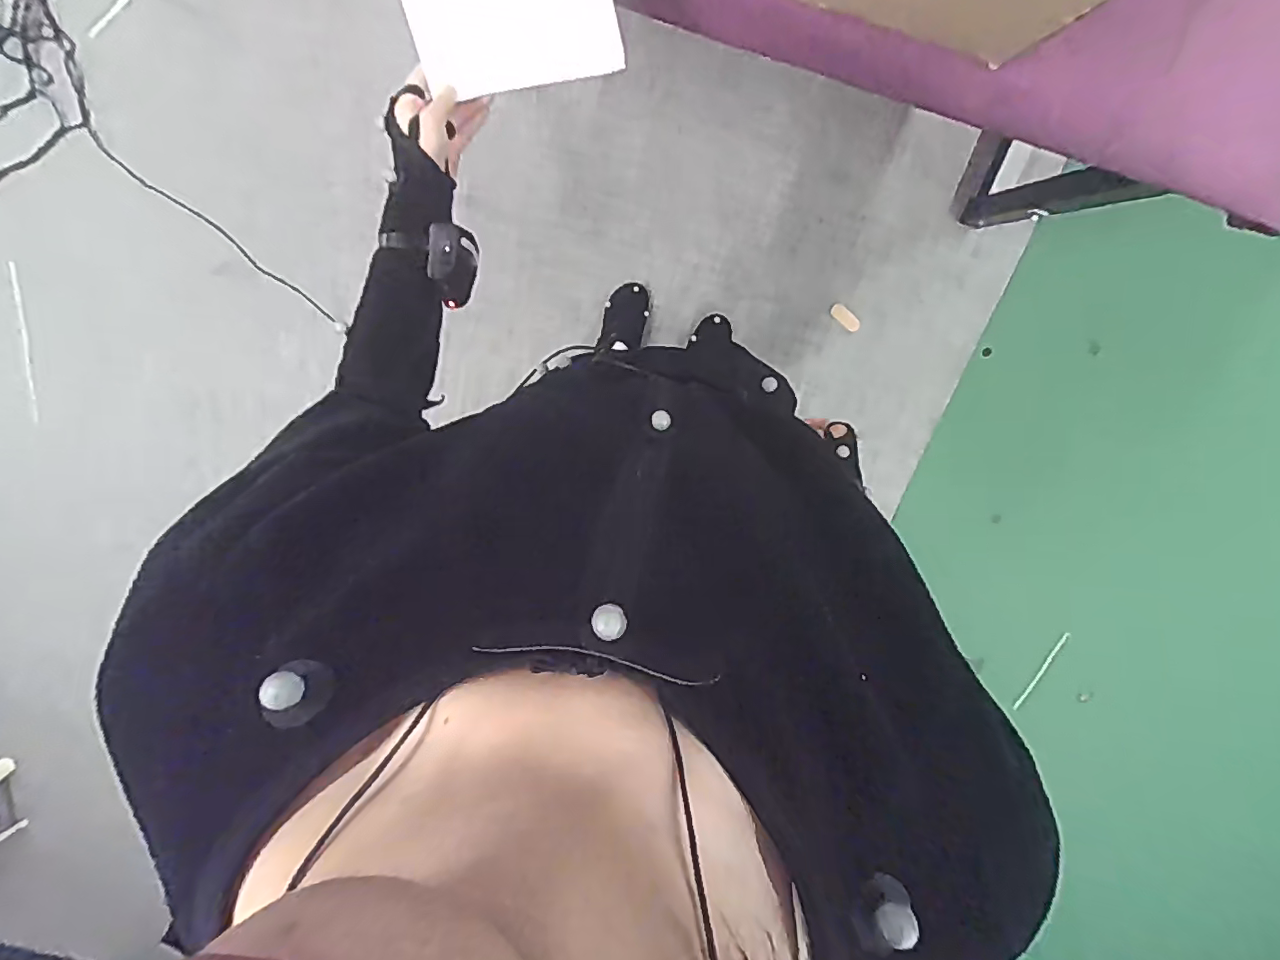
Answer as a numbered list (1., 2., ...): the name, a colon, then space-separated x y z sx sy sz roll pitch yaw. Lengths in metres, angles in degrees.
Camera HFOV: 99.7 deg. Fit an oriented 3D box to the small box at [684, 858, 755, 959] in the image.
1. small box: 0.223 1.231 1.557 0.179 0.176 0.168 6 108 2
